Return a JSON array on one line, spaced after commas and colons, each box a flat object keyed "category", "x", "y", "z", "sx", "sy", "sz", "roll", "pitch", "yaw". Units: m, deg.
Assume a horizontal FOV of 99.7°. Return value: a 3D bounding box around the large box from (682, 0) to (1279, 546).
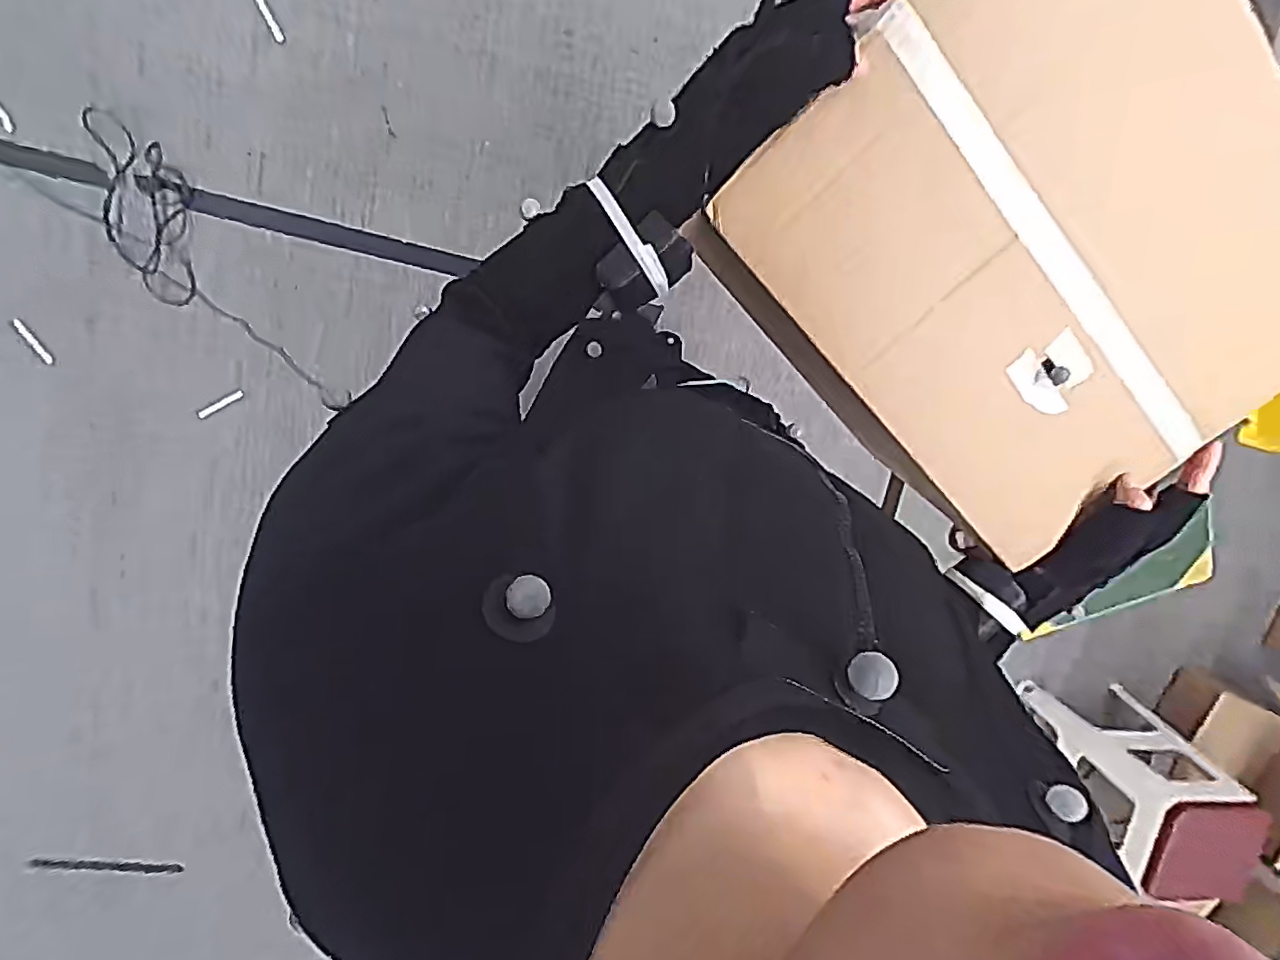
[{"category": "large box", "x": 0.292, "y": -0.221, "z": 0.533, "sx": 0.408, "sy": 0.320, "sz": 0.320, "roll": 43, "pitch": 107, "yaw": -15}]
